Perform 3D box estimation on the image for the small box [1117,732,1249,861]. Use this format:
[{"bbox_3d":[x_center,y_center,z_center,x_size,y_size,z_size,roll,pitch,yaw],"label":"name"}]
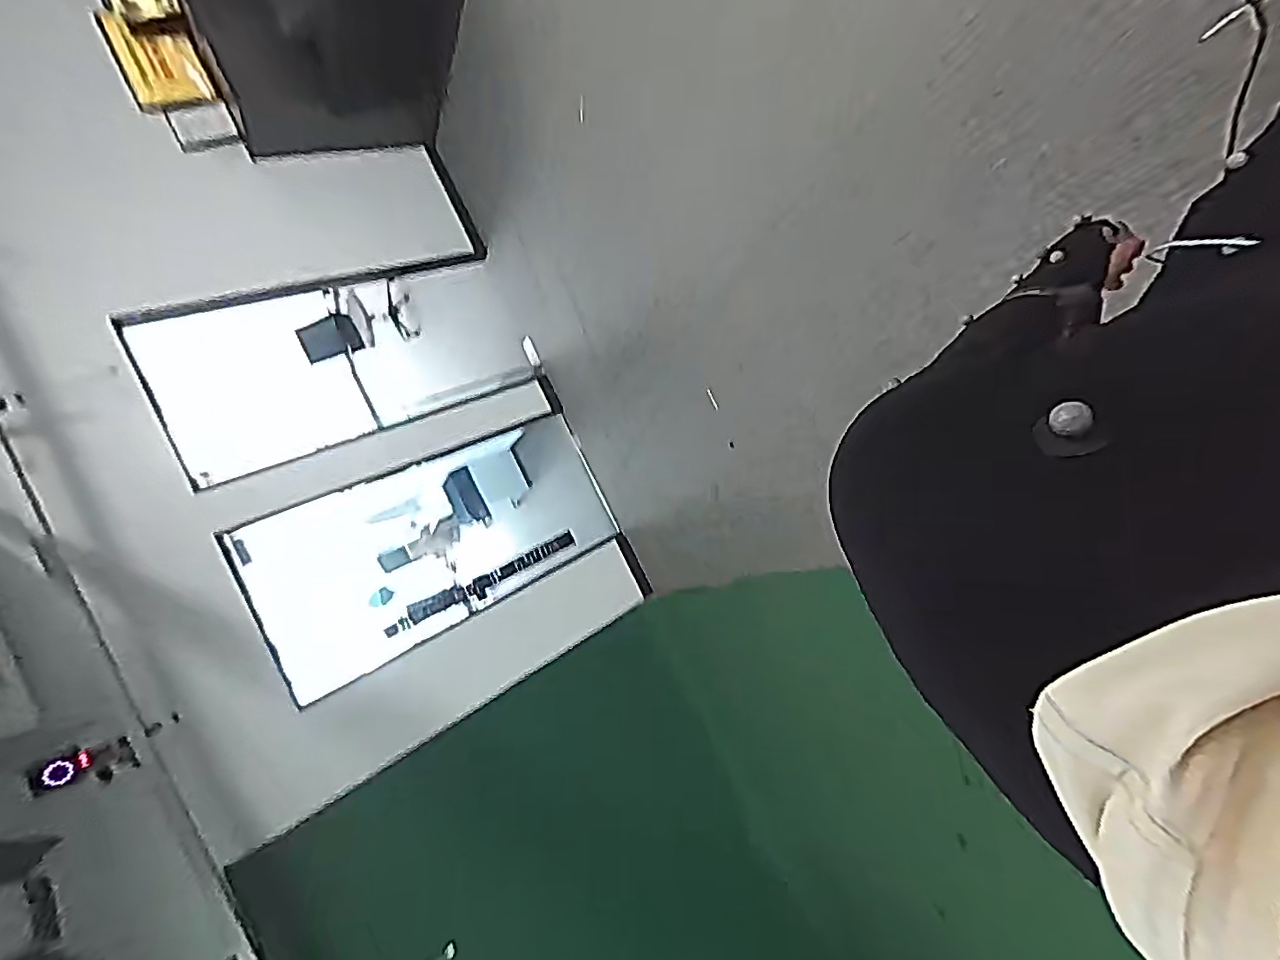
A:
[{"bbox_3d":[1.299,0.744,1.293,0.168,0.176,0.179,-21,94,60],"label":"small box"}]
